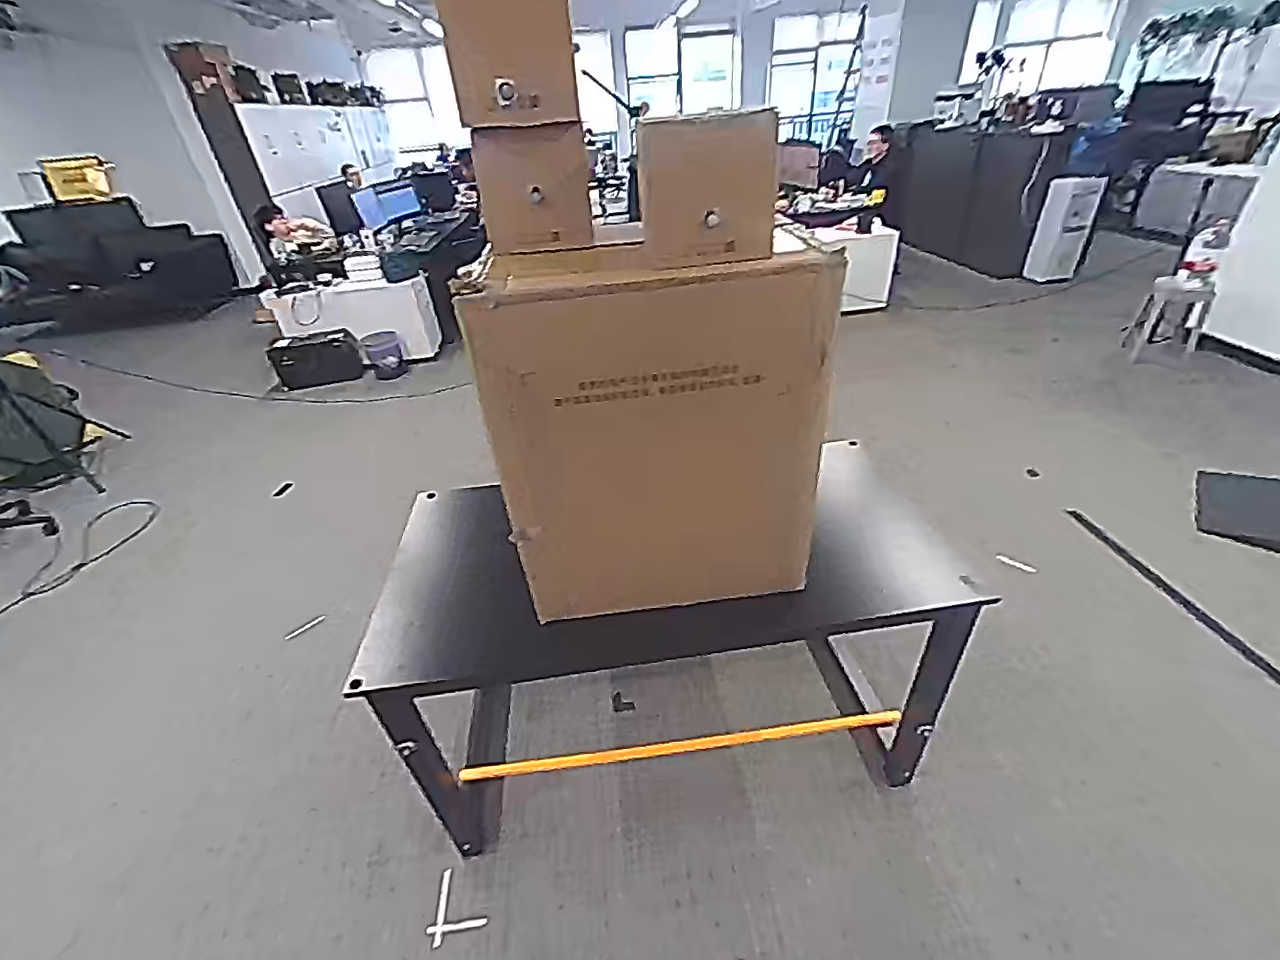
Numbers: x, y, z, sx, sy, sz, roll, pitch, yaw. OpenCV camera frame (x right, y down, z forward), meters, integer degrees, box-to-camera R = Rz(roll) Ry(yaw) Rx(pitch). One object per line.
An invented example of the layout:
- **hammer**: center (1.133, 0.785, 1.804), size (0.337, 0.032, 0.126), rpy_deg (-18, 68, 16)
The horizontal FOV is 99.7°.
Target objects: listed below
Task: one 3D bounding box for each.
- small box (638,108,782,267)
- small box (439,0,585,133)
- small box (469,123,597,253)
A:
- **small box**: center (0.087, -0.401, 0.743), size (0.168, 0.176, 0.179), rpy_deg (-6, 35, 0)
- **small box**: center (-0.171, -0.584, 0.748), size (0.168, 0.176, 0.179), rpy_deg (-9, 35, -5)
- **small box**: center (-0.161, -0.469, 0.868), size (0.168, 0.176, 0.179), rpy_deg (-6, 34, -3)
